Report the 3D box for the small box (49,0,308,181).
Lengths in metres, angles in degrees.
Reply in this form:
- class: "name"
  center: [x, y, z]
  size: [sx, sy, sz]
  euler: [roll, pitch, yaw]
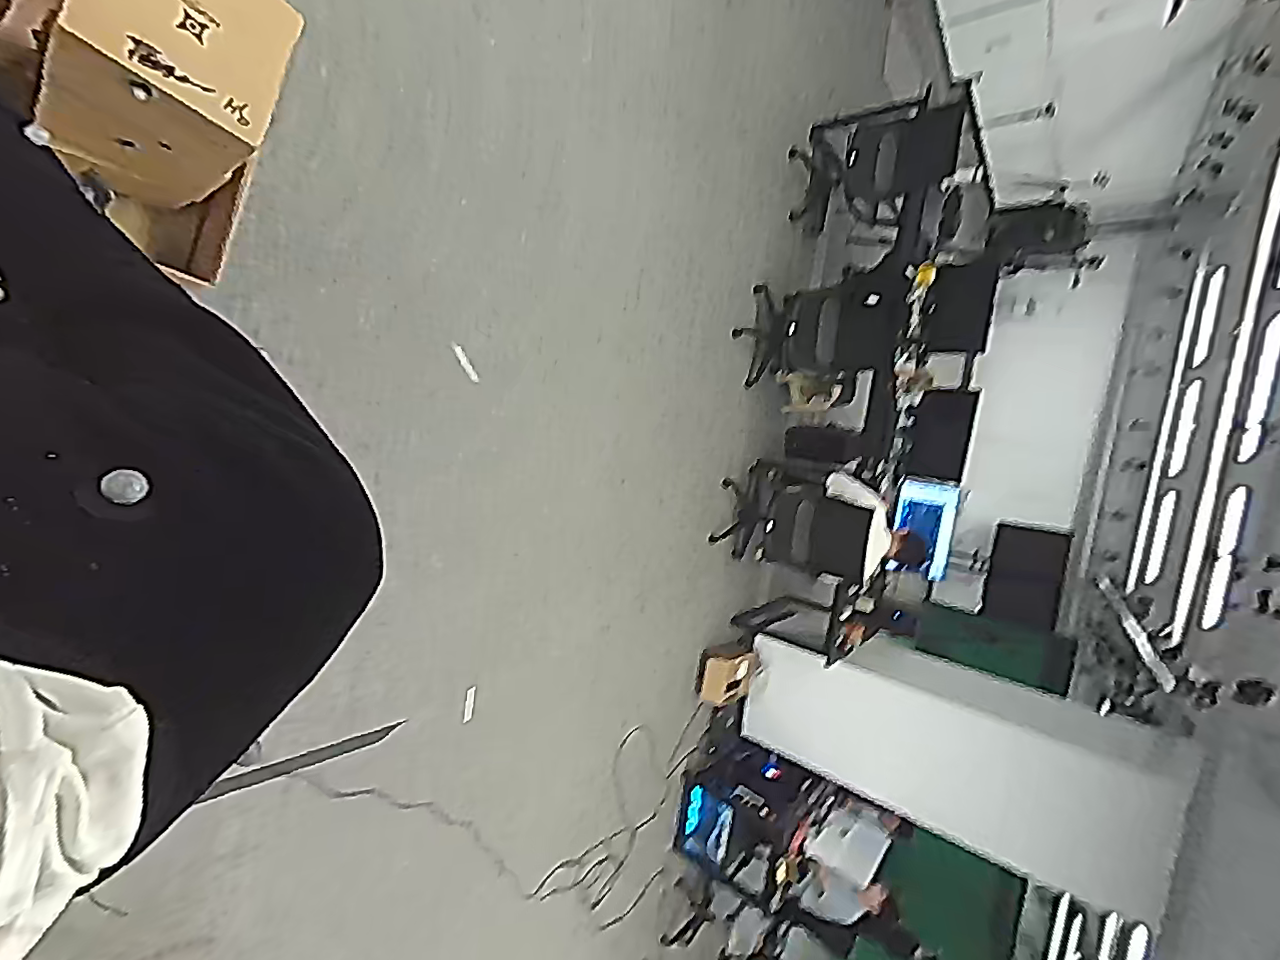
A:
- class: "small box"
  center: [-0.517, -0.478, 0.607]
  size: [0.168, 0.176, 0.179]
  euler: [23, 79, -51]
